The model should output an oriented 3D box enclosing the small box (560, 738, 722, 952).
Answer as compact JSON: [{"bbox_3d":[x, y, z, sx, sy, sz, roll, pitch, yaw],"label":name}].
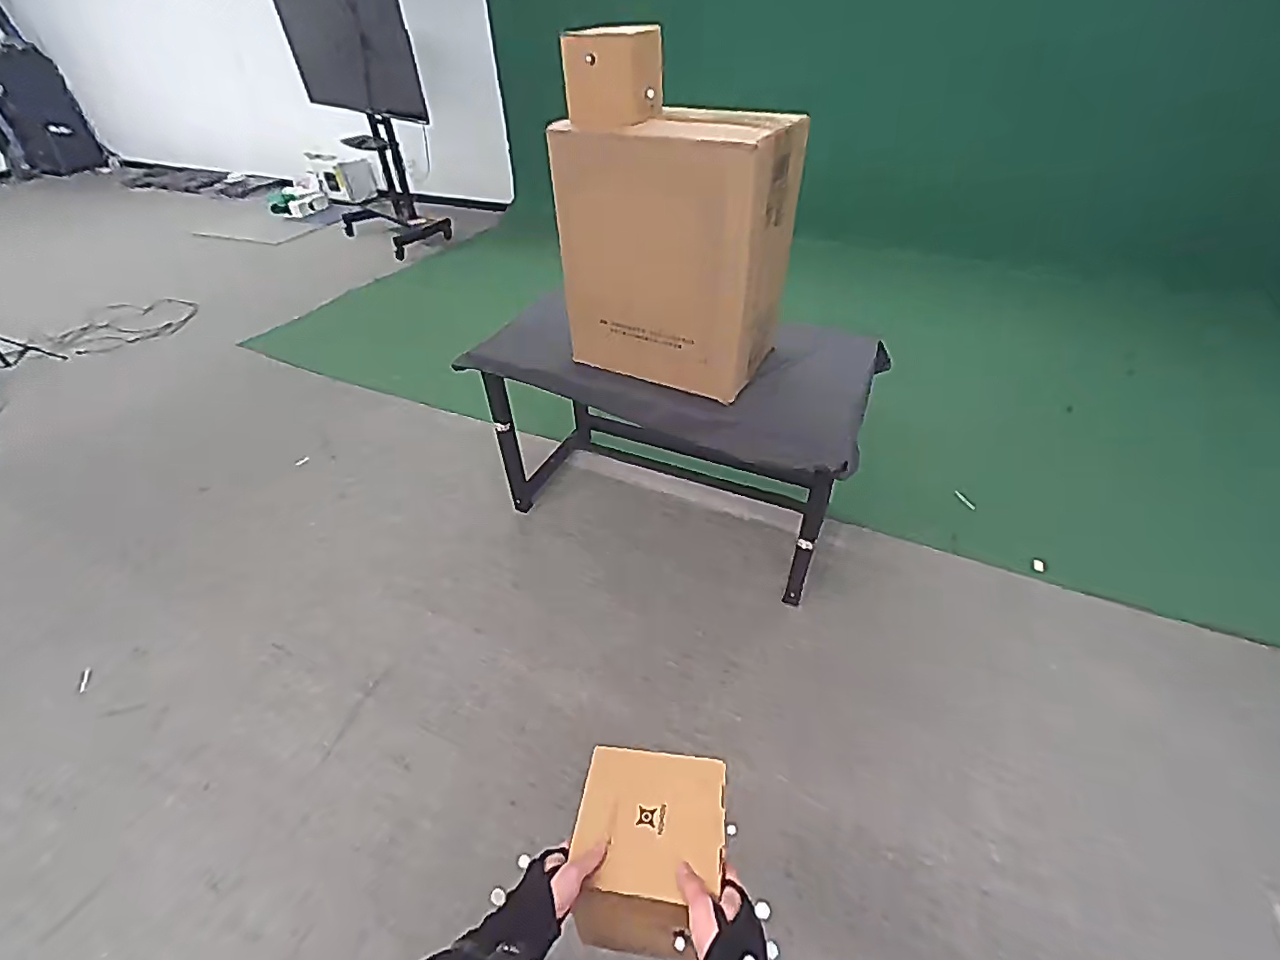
[{"bbox_3d":[0.014,0.466,0.696,0.179,0.176,0.168,0,31,11],"label":"small box"}]

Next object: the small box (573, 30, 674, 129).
[{"bbox_3d":[-0.033,-0.949,1.284,0.179,0.176,0.168,19,49,24],"label":"small box"}]
